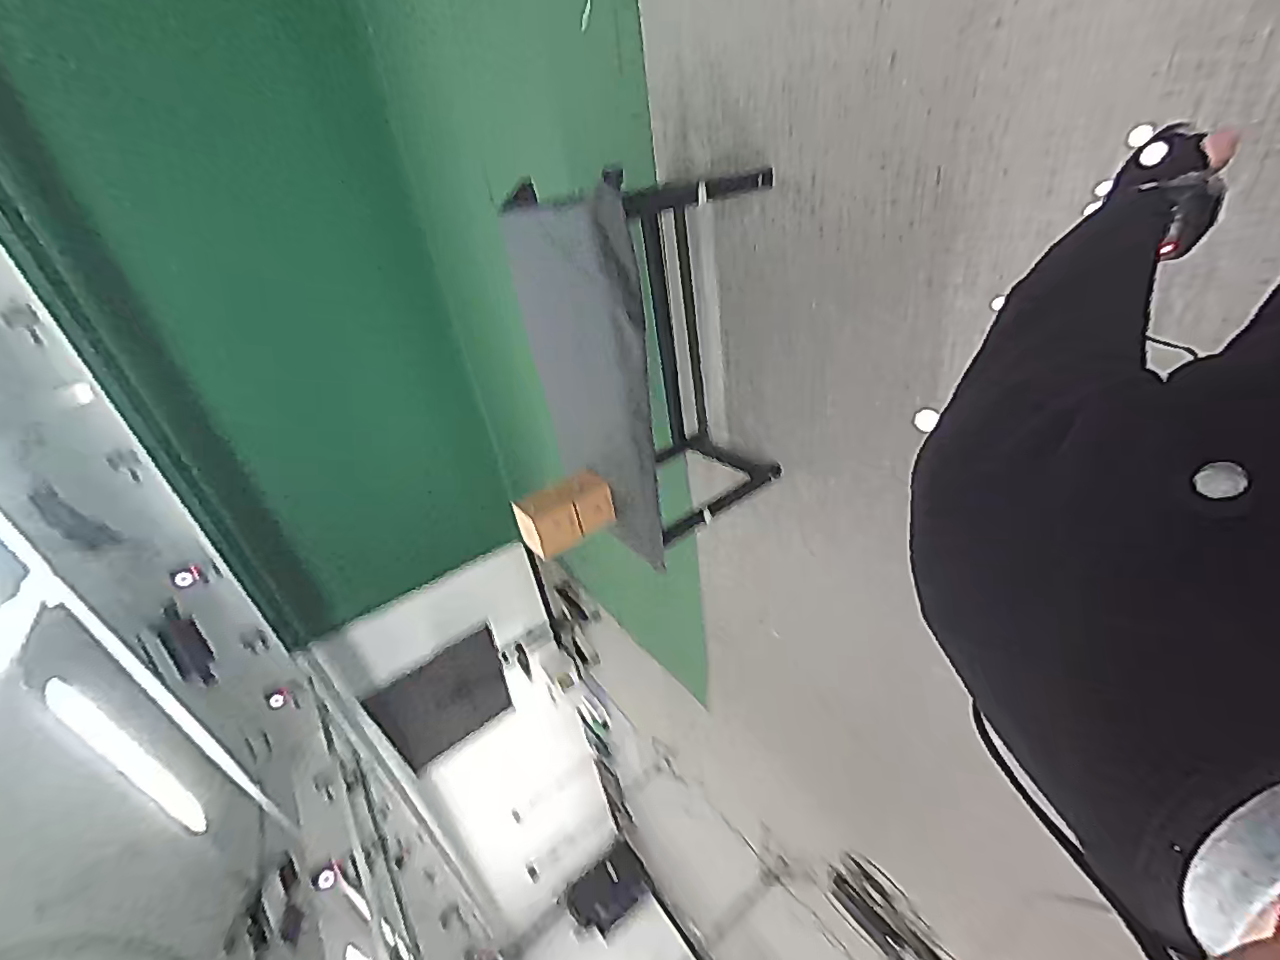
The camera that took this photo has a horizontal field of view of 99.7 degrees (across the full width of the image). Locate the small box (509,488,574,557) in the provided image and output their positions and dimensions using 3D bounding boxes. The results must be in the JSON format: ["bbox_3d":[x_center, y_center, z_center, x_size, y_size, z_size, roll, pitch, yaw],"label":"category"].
[{"bbox_3d":[-0.357,0.150,2.007,0.179,0.176,0.168,30,136,48],"label":"small box"}]

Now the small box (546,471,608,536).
[{"bbox_3d":[-0.236,0.083,2.093,0.179,0.176,0.168,31,137,46],"label":"small box"}]
